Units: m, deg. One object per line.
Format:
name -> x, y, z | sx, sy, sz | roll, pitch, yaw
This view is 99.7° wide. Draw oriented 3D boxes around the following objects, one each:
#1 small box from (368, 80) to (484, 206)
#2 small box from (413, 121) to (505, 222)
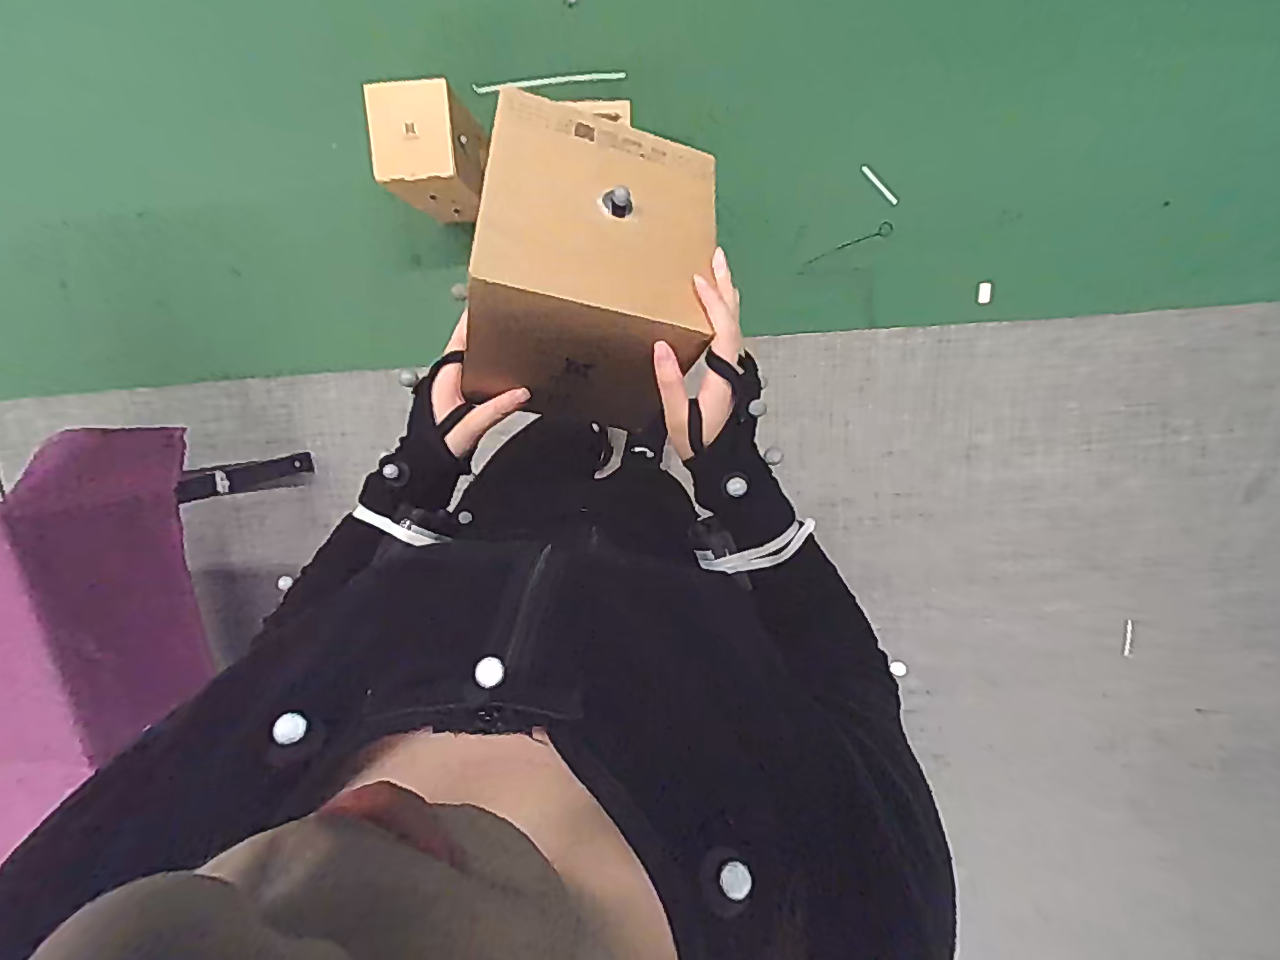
small box -> -0.440, -0.697, 1.136 | 0.168, 0.176, 0.179 | -1, 101, 4
small box -> -0.431, -0.731, 1.296 | 0.179, 0.176, 0.168 | -1, 101, 5
